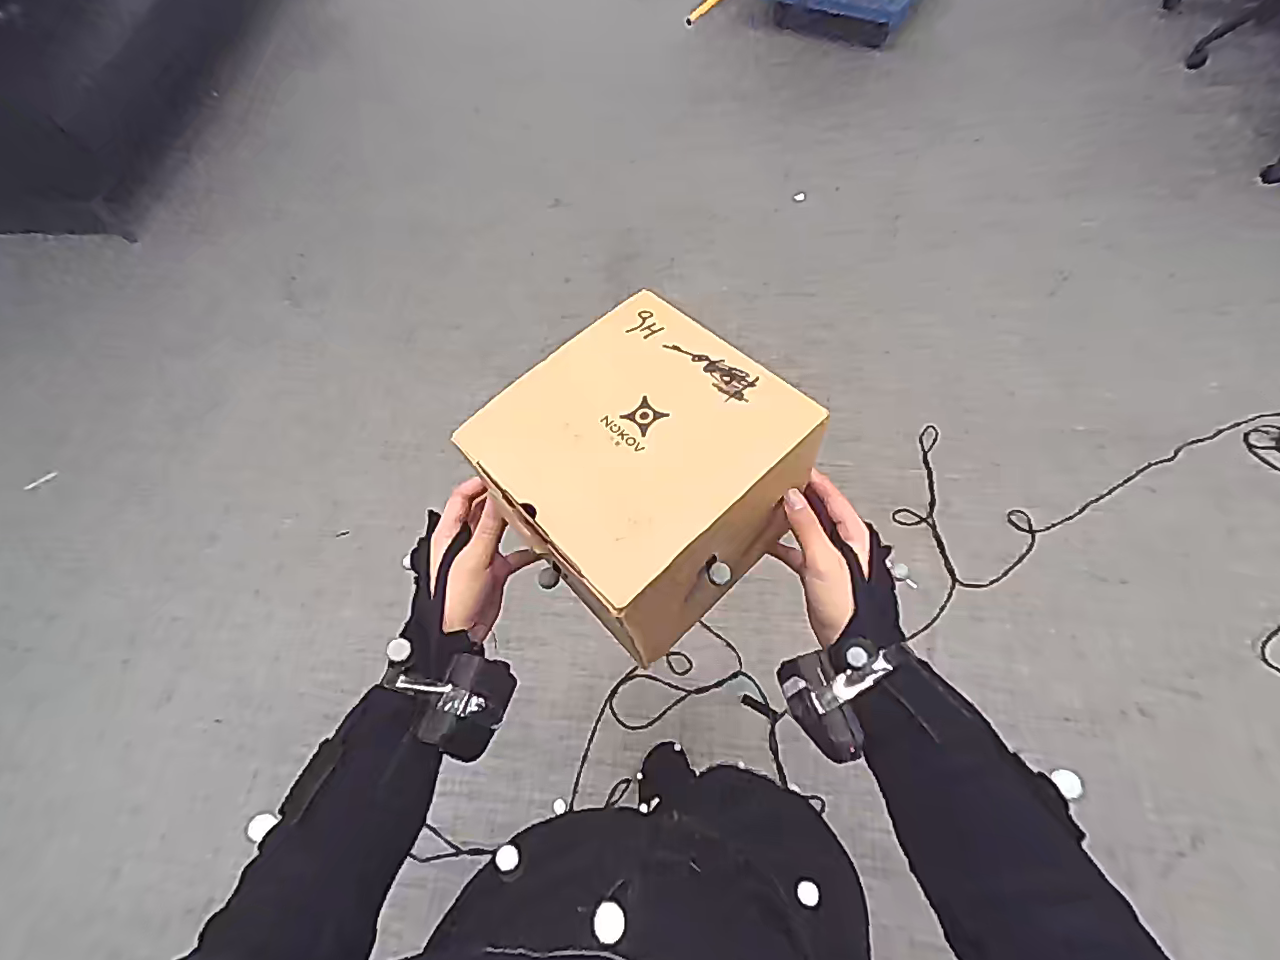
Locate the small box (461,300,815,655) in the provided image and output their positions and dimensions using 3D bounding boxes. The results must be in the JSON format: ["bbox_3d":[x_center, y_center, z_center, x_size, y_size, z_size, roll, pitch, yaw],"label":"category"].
[{"bbox_3d":[0.005,0.007,0.416,0.179,0.176,0.168,-41,64,-15],"label":"small box"}]
